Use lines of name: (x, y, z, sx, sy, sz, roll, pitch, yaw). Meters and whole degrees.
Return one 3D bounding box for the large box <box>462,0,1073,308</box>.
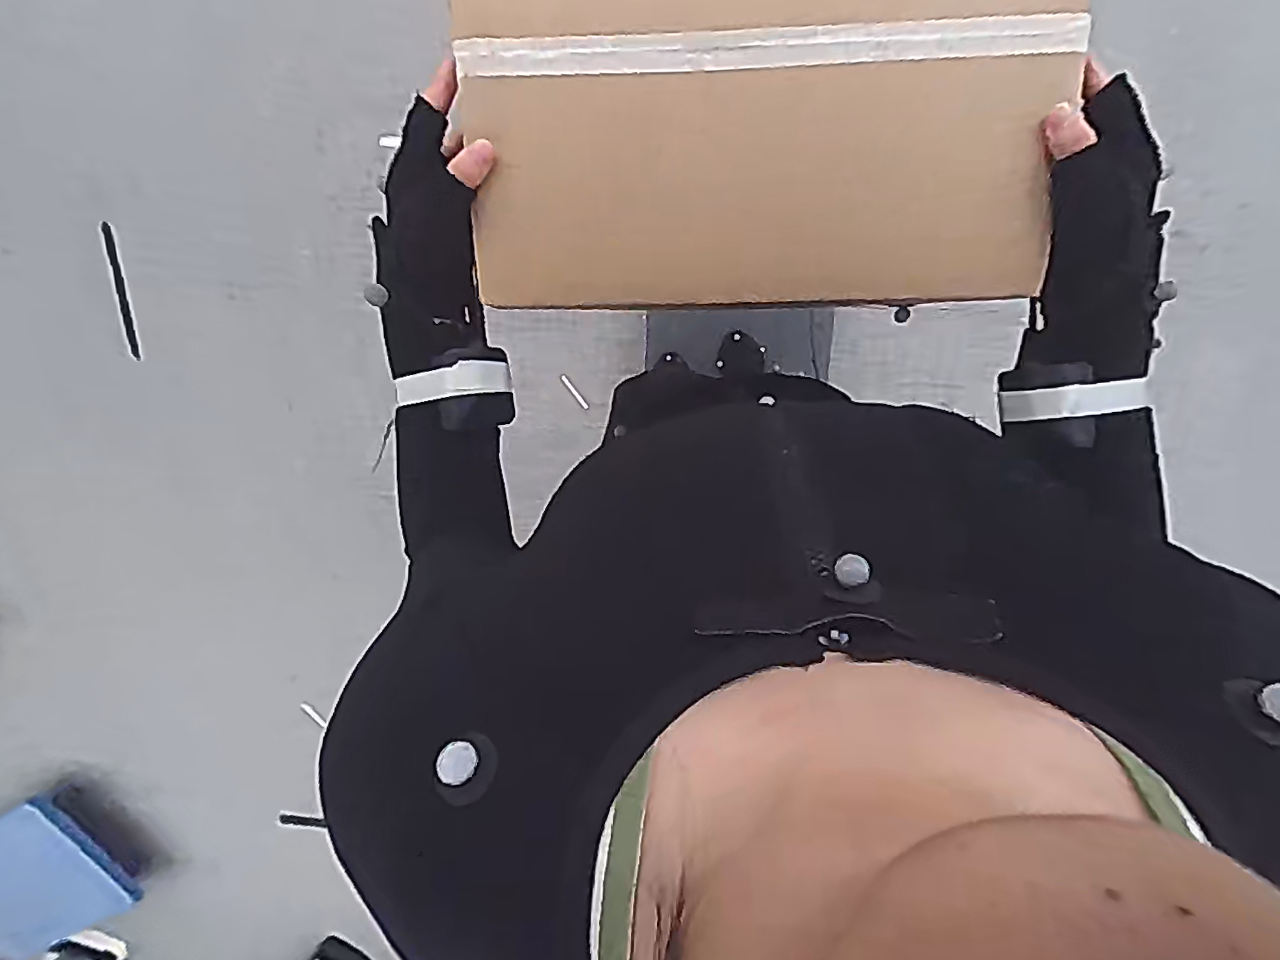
large box: (0.086, -0.328, 0.505, 0.408, 0.320, 0.320, 0, 107, 2)
